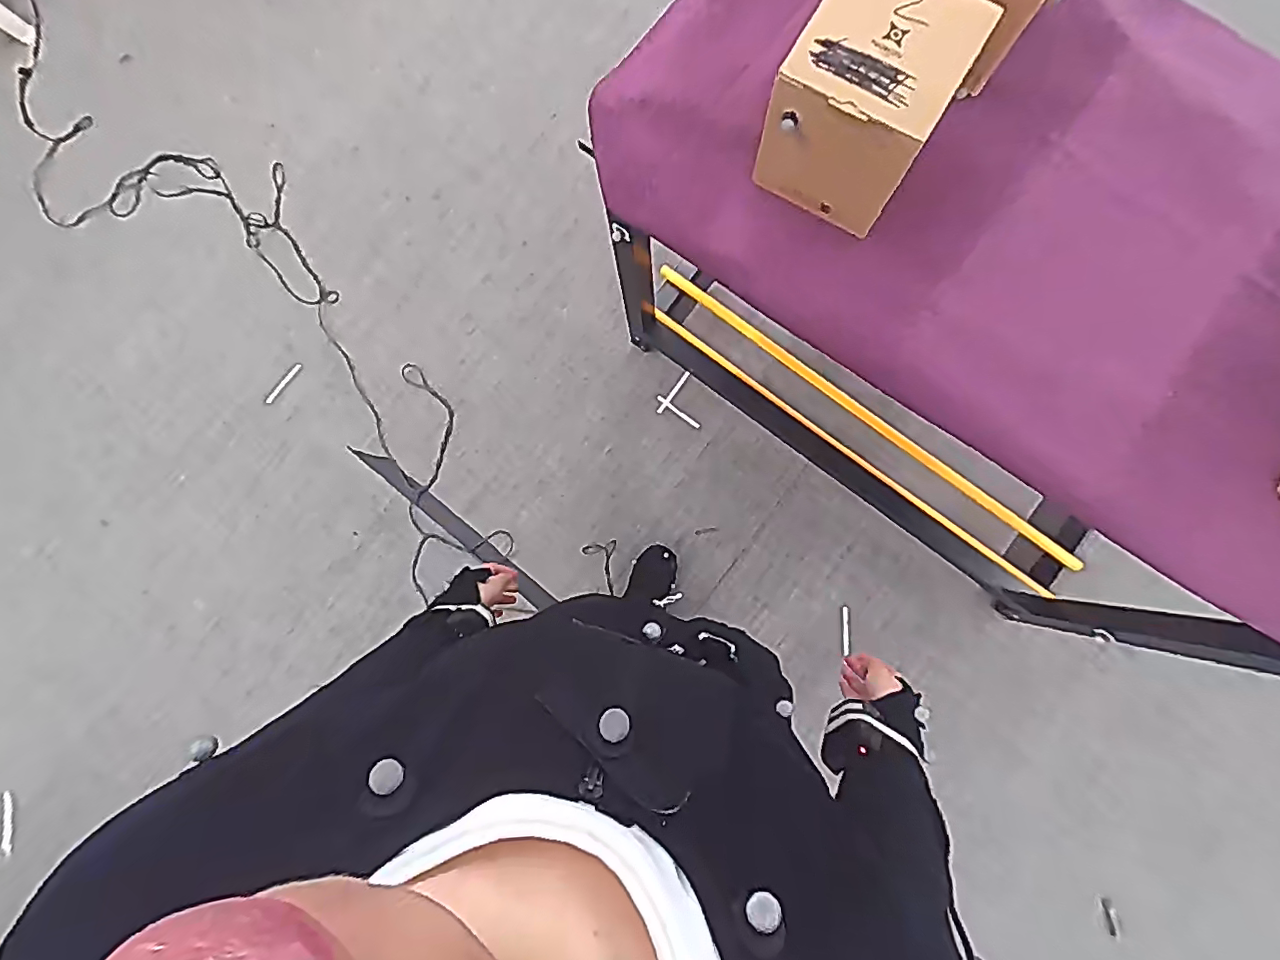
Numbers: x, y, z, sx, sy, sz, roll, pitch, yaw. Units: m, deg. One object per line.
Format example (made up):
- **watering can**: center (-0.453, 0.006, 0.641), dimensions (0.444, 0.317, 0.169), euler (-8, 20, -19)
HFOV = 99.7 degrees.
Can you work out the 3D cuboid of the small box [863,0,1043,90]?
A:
- **small box**: center (0.408, -0.622, 0.647), dimensions (0.179, 0.176, 0.168), euler (34, 86, 6)
